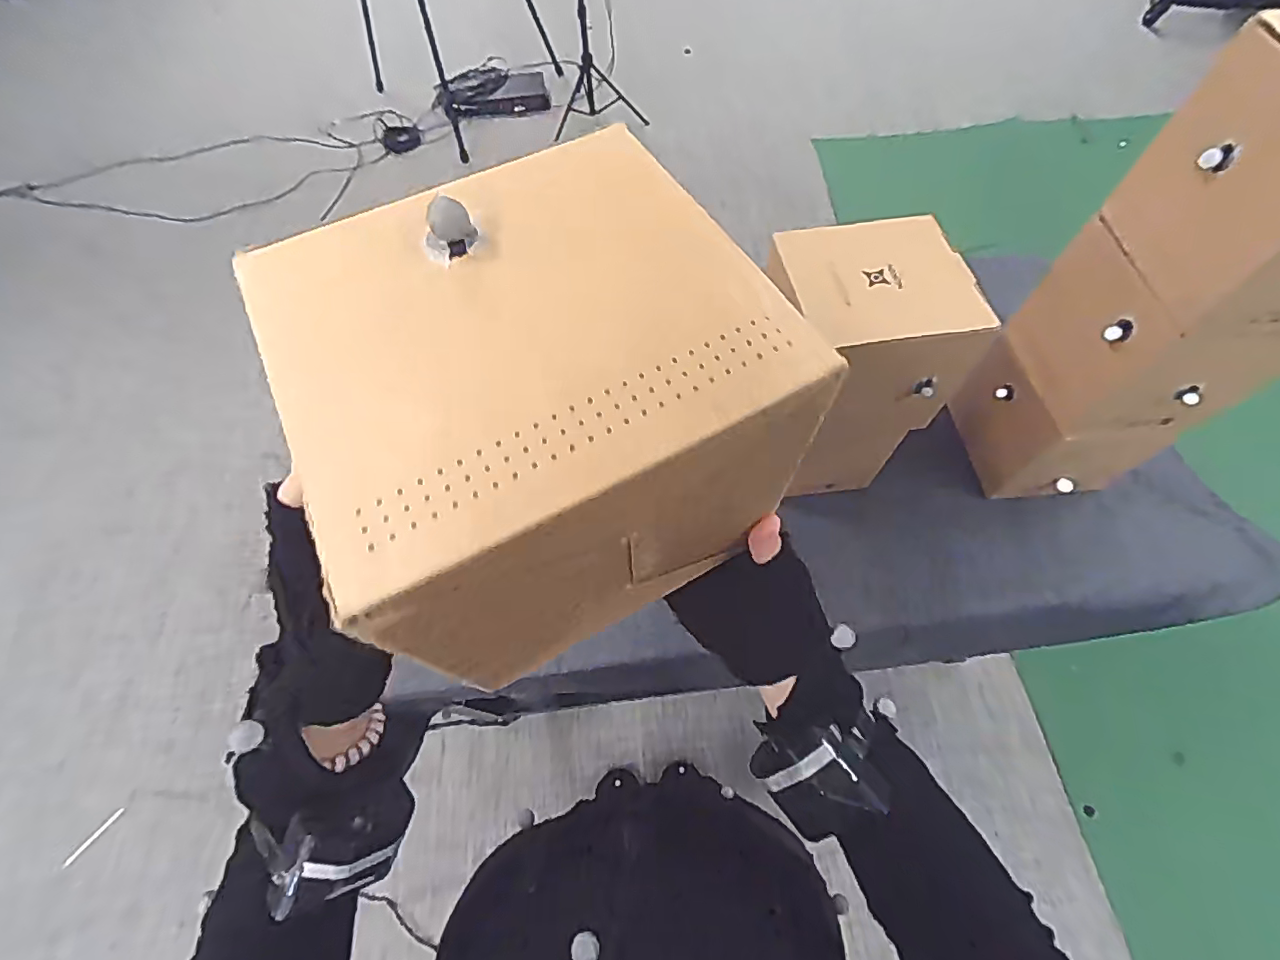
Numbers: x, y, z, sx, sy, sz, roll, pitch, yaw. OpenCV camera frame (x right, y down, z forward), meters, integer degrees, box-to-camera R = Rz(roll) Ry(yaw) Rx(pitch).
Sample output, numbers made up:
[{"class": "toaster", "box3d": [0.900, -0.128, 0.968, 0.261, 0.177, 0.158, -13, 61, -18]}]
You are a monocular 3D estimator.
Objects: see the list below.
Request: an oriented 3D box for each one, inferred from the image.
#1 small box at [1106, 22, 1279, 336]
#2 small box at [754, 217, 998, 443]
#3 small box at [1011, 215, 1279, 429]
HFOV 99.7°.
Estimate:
[{"class": "small box", "box3d": [0.553, -0.243, 0.450, 0.168, 0.176, 0.179, -2, 61, 2]}, {"class": "small box", "box3d": [0.240, -0.159, 0.604, 0.179, 0.176, 0.168, -8, 61, -1]}, {"class": "small box", "box3d": [0.560, -0.168, 0.595, 0.168, 0.176, 0.179, -4, 62, 0]}]
